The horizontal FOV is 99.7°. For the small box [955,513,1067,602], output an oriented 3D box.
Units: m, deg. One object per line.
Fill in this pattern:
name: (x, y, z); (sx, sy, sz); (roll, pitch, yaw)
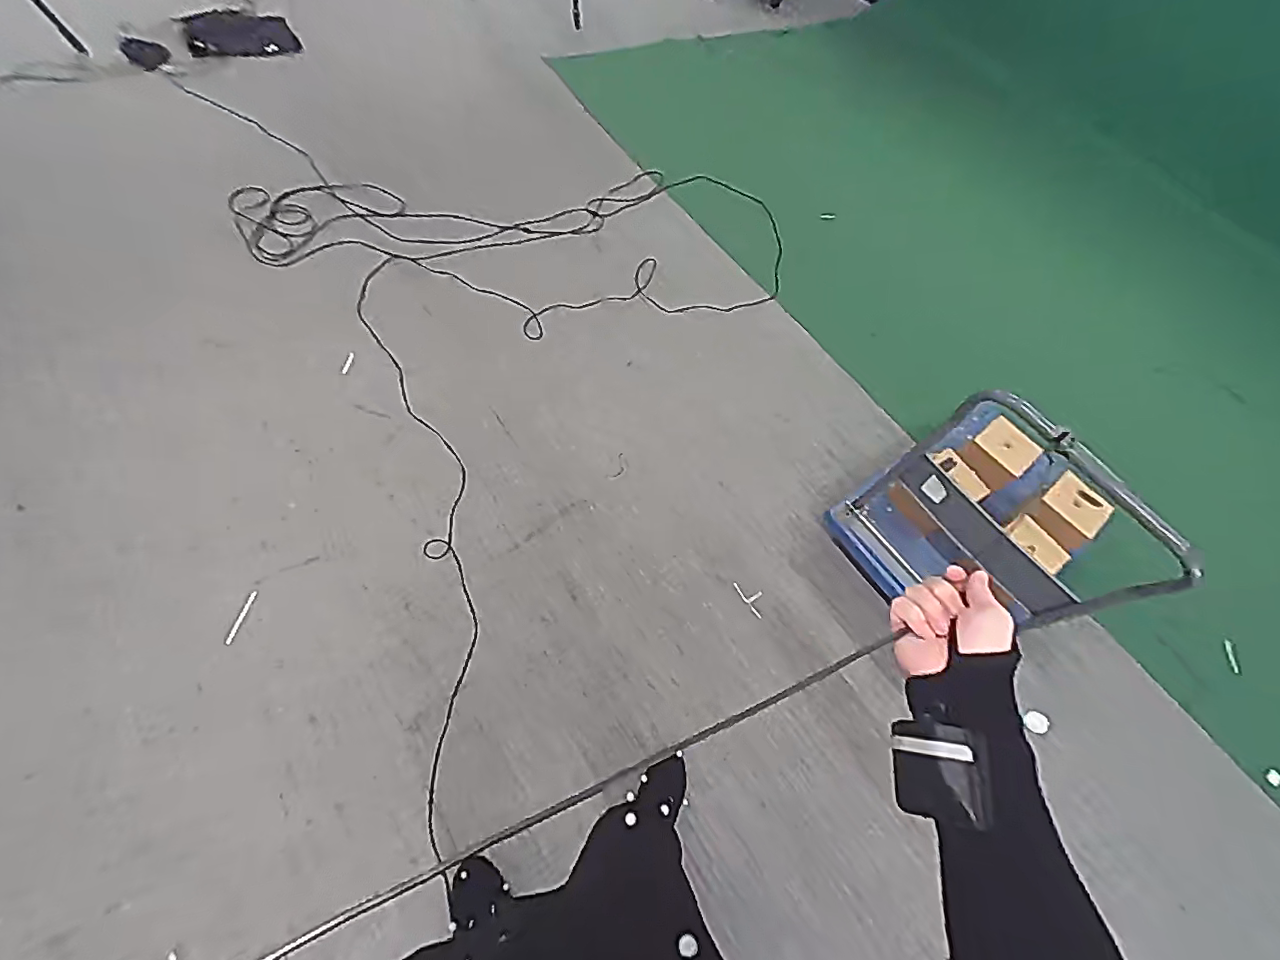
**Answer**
small box: (1.073, 0.230, 1.580); (0.179, 0.176, 0.168); (-28, 69, -22)

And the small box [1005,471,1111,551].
small box: (1.292, 0.110, 1.683); (0.179, 0.176, 0.168); (-33, 70, -23)

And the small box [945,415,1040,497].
small box: (1.134, -0.072, 1.758); (0.179, 0.176, 0.168); (-33, 72, -24)
